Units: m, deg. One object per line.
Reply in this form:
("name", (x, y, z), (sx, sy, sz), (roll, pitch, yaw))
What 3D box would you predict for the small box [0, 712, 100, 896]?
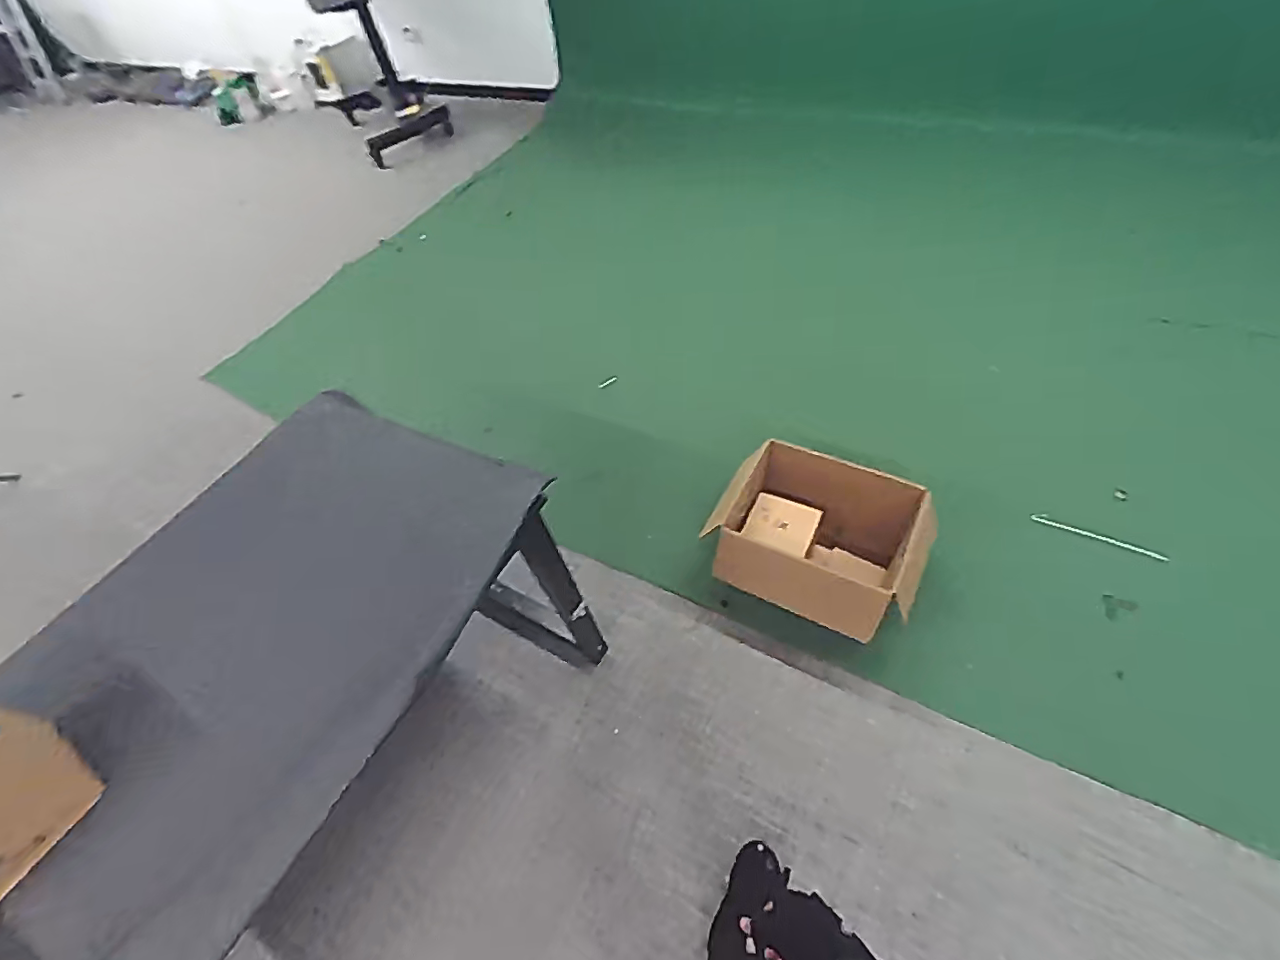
("small box", (-0.821, 0.385, 0.637), (0.179, 0.176, 0.168), (23, 60, 22))
